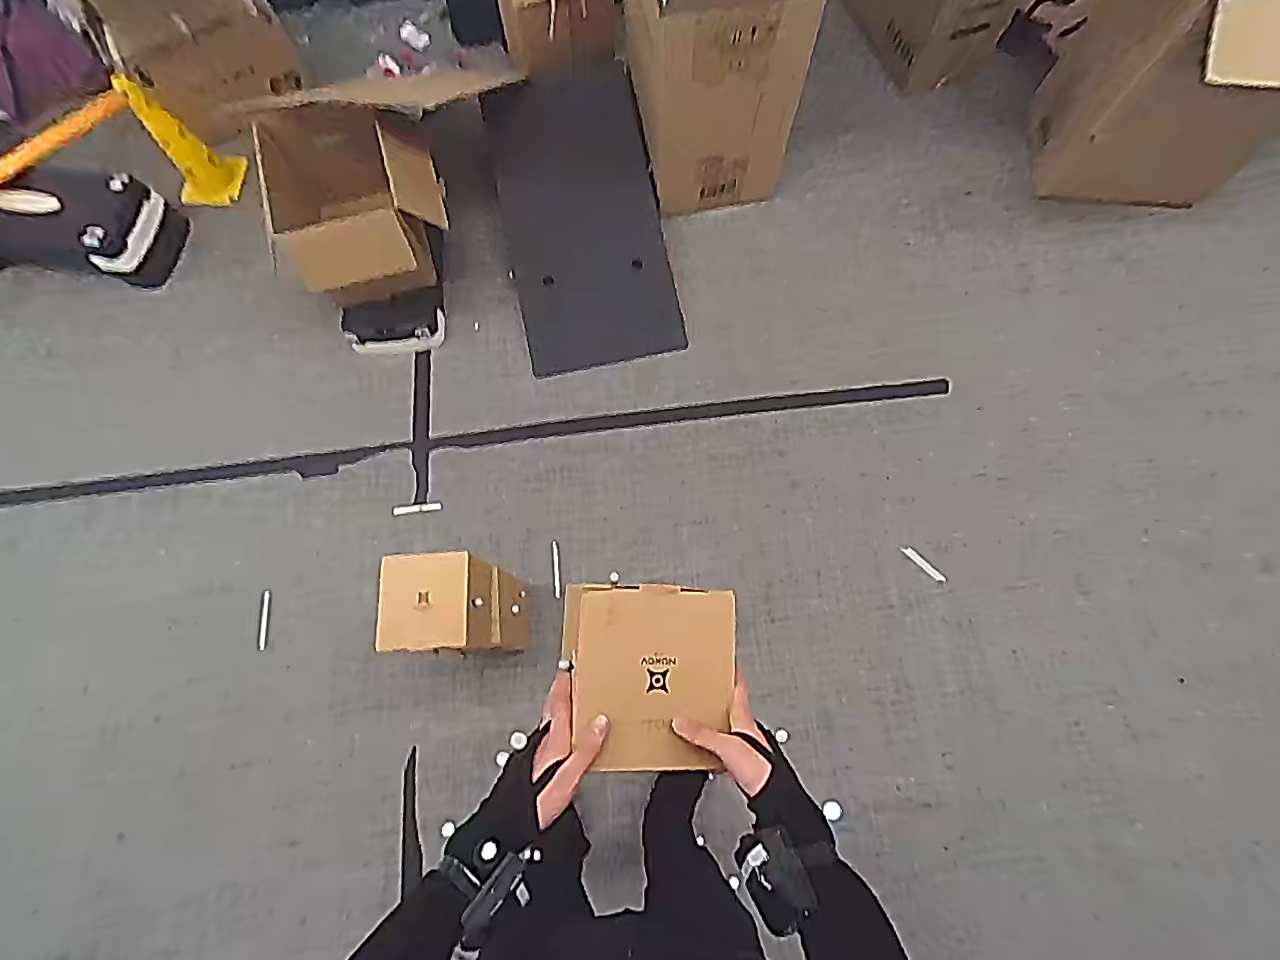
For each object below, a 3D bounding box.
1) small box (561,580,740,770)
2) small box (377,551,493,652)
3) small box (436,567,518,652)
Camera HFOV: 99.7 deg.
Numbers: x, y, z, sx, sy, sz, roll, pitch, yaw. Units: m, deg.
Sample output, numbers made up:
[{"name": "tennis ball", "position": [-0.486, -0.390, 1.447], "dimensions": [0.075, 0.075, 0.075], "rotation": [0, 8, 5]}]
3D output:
[{"name": "small box", "position": [0.003, 0.207, 0.610], "dimensions": [0.168, 0.176, 0.179], "rotation": [5, 78, -11]}, {"name": "small box", "position": [-0.394, 0.244, 1.068], "dimensions": [0.168, 0.176, 0.179], "rotation": [-4, 74, -1]}, {"name": "small box", "position": [-0.382, 0.297, 1.222], "dimensions": [0.179, 0.176, 0.168], "rotation": [-6, 73, -2]}]
